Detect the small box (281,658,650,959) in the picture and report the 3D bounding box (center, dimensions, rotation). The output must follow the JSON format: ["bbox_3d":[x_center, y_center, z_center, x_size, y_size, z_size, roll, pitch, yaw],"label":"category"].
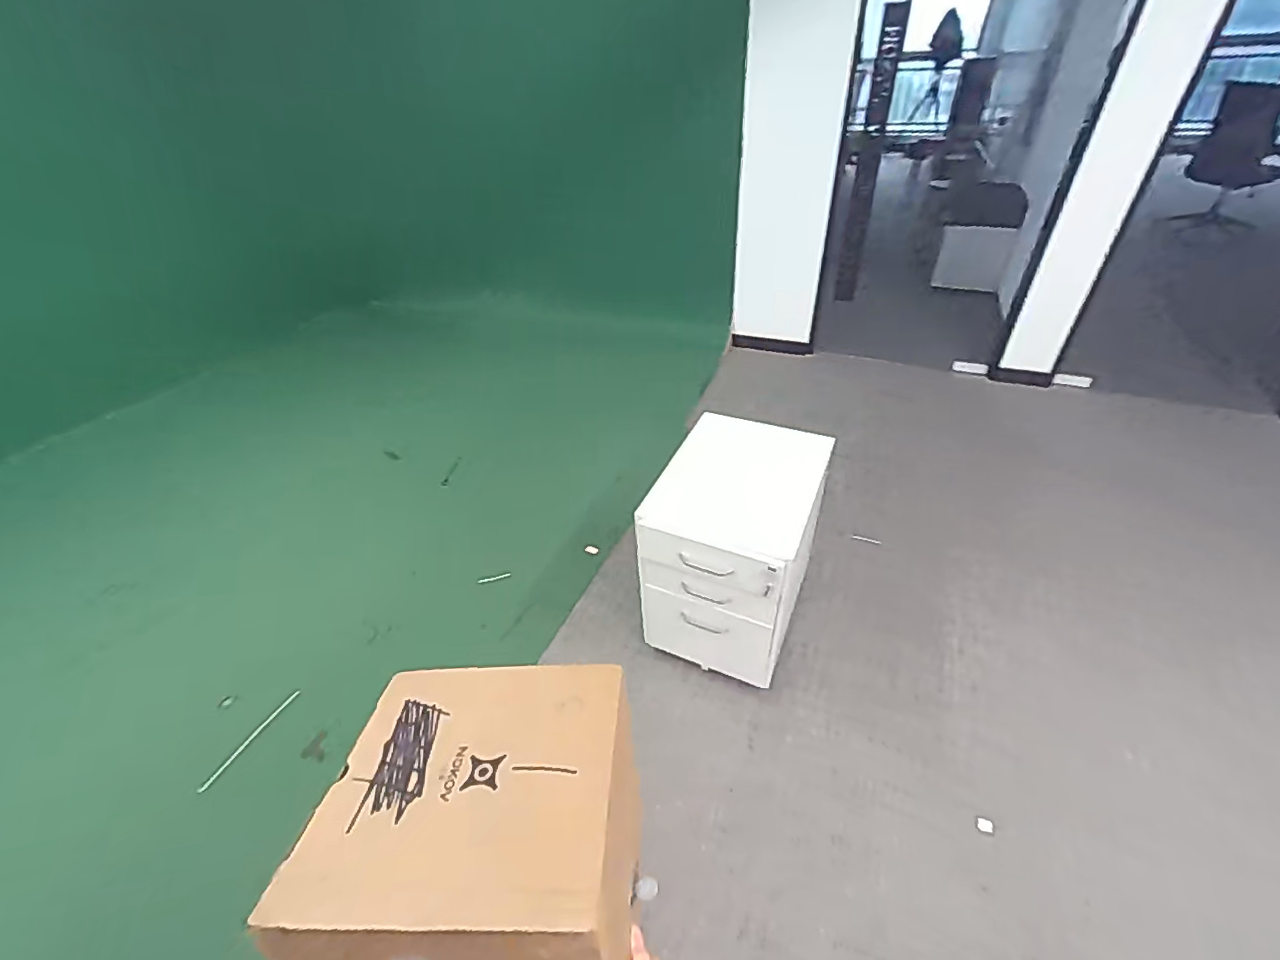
[{"bbox_3d":[-0.090,0.247,0.375,0.179,0.176,0.168,-2,27,5],"label":"small box"}]
